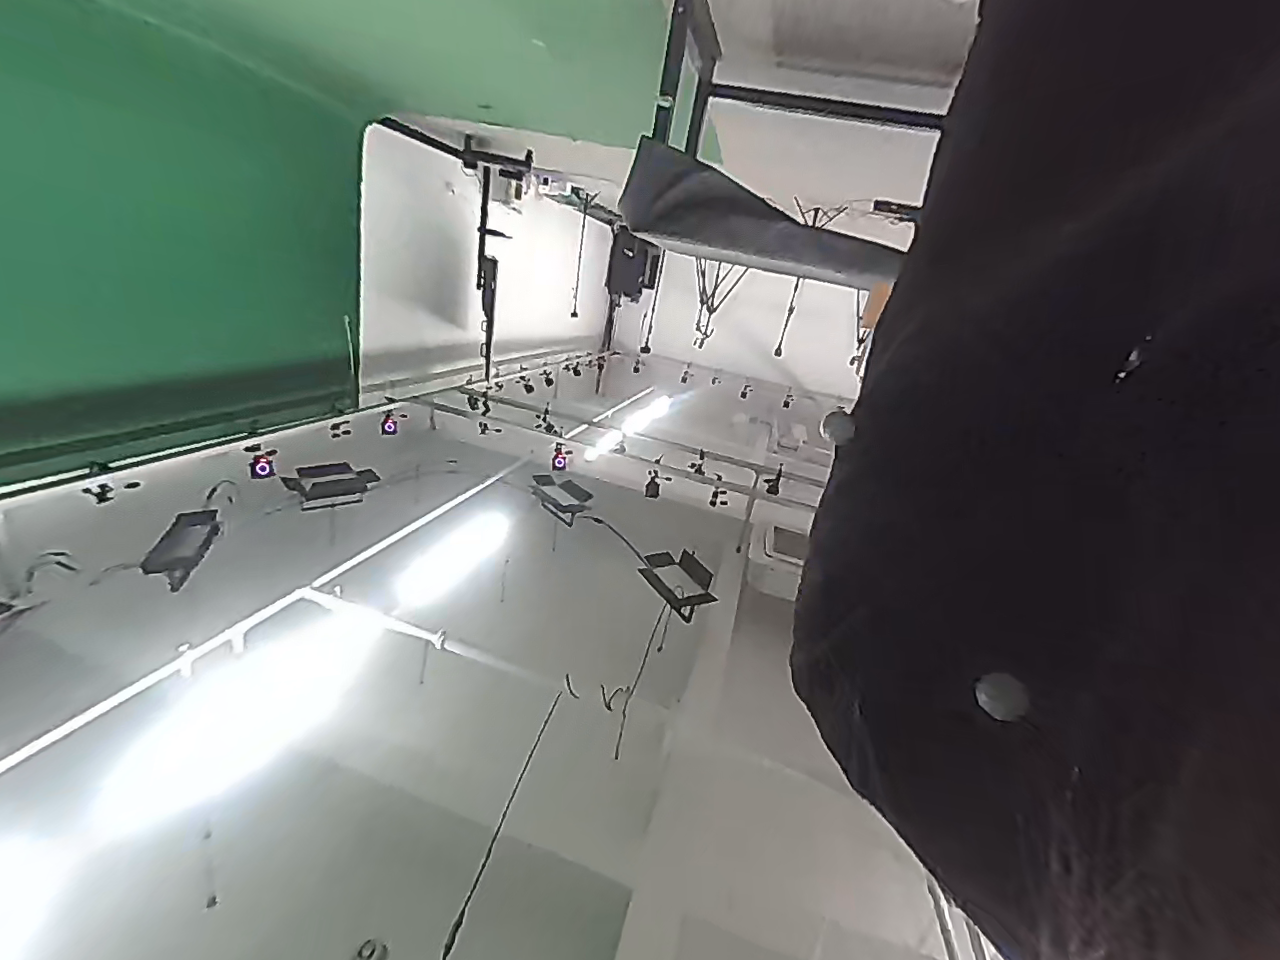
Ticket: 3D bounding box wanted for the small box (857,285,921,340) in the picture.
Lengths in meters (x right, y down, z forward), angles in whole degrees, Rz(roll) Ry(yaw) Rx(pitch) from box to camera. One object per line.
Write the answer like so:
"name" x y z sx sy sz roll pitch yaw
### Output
"small box" 0.931 -0.631 2.025 0.168 0.176 0.179 16 -159 11
